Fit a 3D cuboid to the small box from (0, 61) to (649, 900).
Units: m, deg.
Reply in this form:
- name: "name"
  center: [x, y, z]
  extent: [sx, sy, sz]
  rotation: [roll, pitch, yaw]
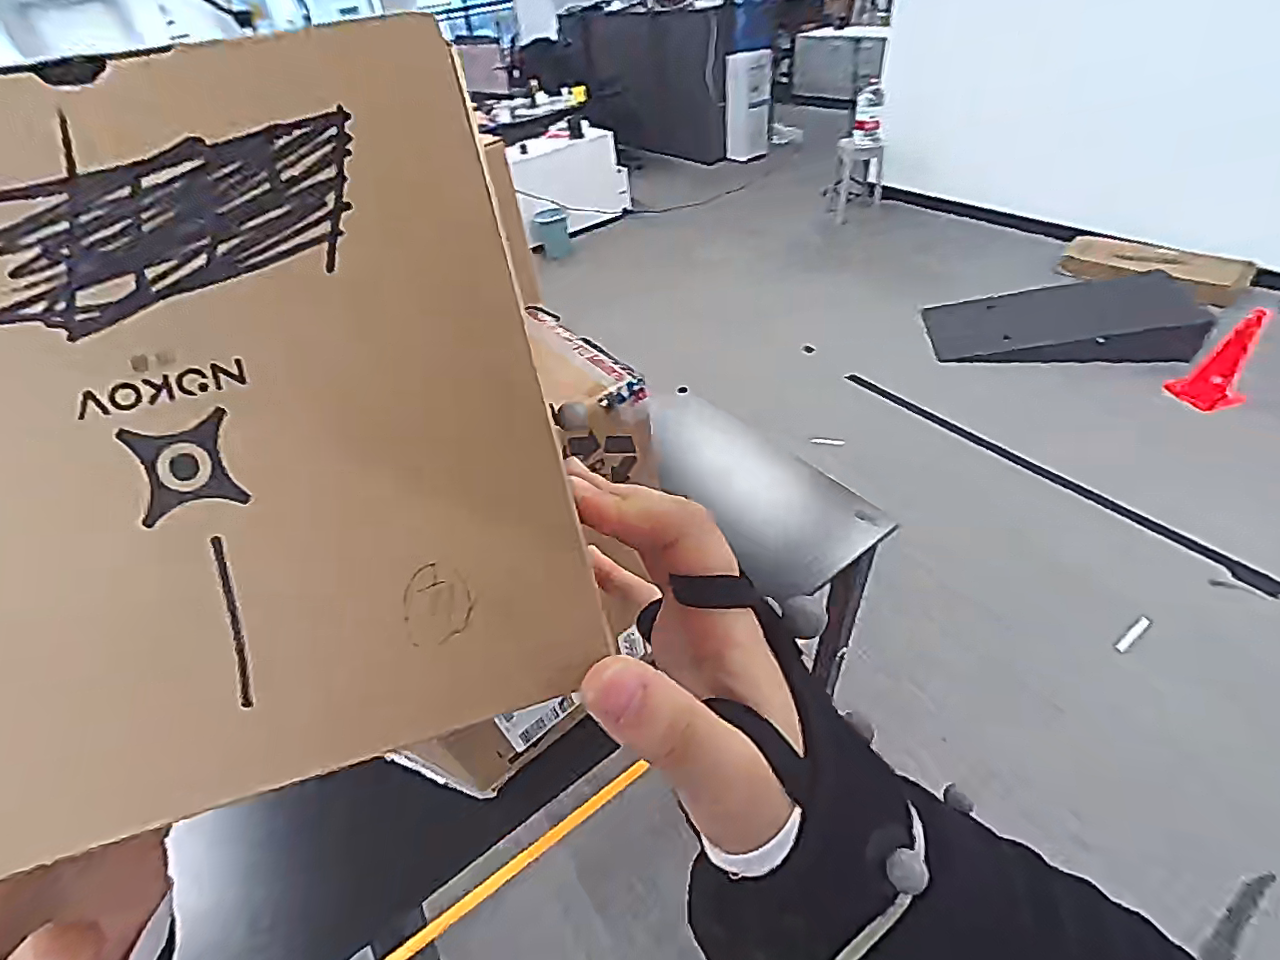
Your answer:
- name: "small box"
  center: [-0.106, -0.005, 0.209]
  extent: [0.168, 0.179, 0.176]
  rotation: [-15, 0, -7]
